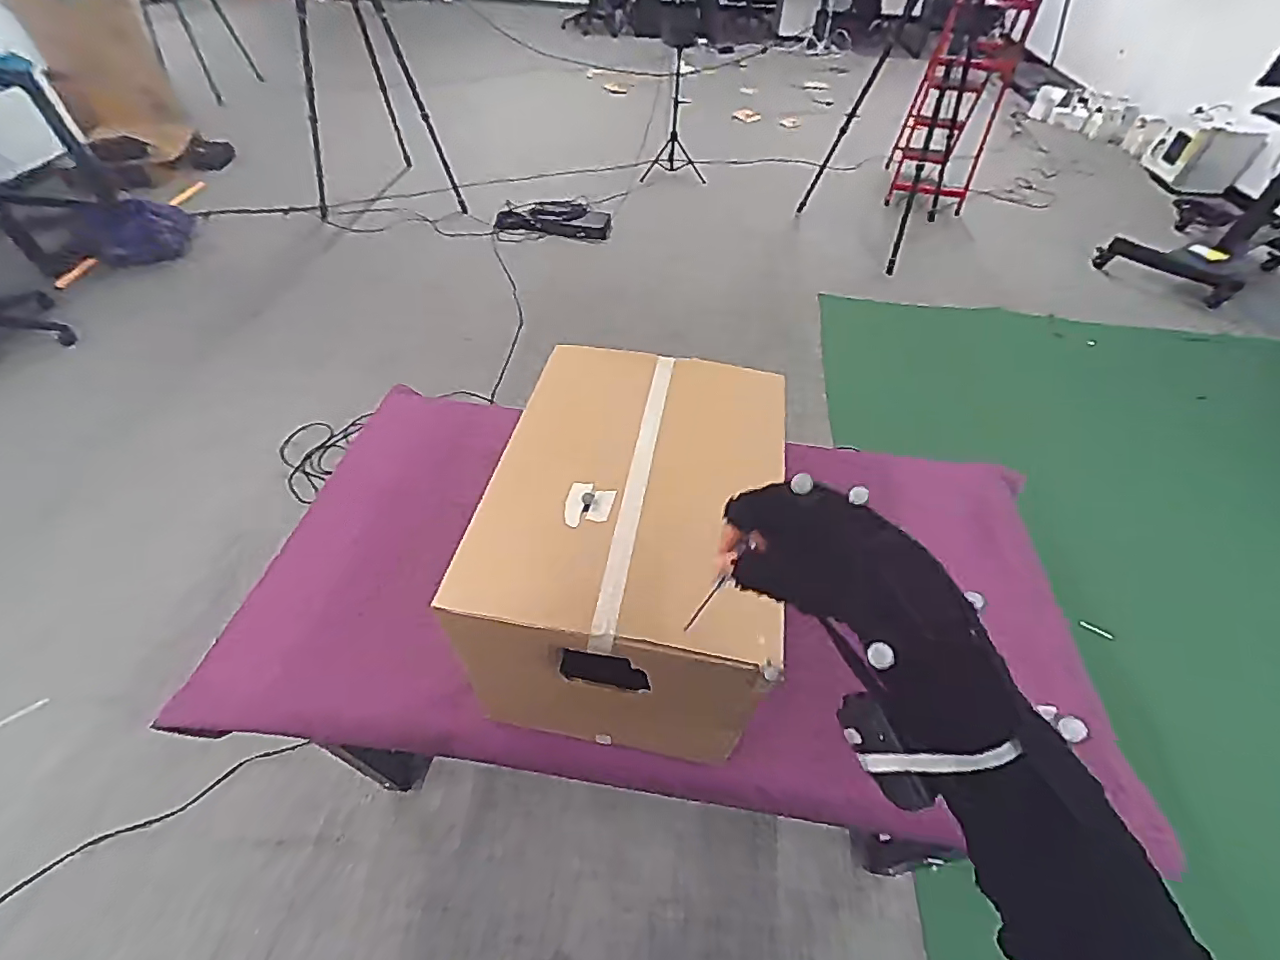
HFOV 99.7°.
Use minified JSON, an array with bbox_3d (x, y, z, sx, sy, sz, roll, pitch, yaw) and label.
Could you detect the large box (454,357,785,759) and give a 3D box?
[{"bbox_3d":[0.001,0.096,0.725,0.320,0.320,0.408,9,50,5],"label":"large box"}]
